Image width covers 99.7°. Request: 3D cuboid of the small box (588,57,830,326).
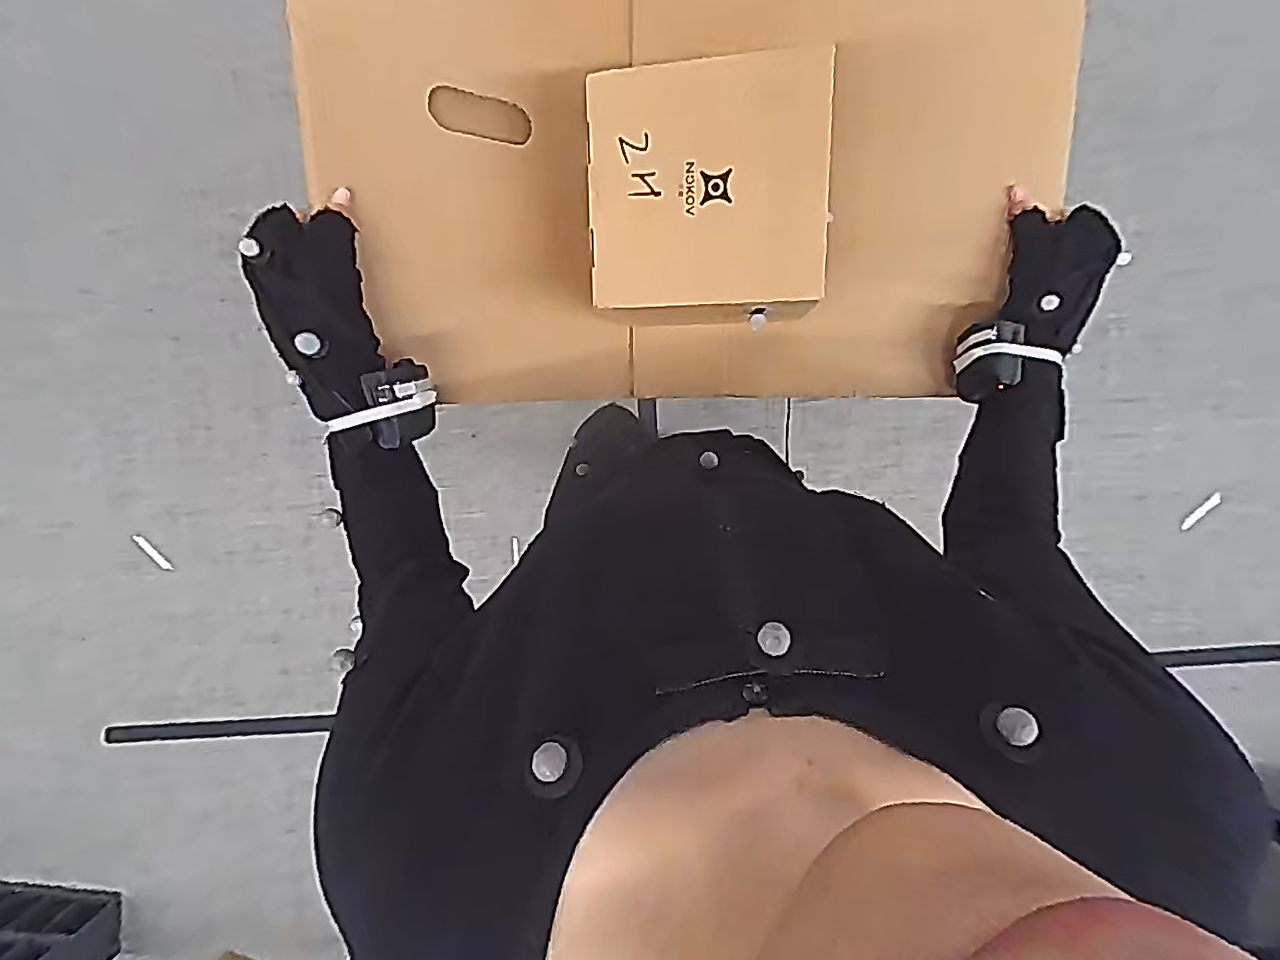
[{"bbox_3d":[0.061,-0.231,0.480,0.179,0.176,0.168,2,101,11],"label":"small box"}]
